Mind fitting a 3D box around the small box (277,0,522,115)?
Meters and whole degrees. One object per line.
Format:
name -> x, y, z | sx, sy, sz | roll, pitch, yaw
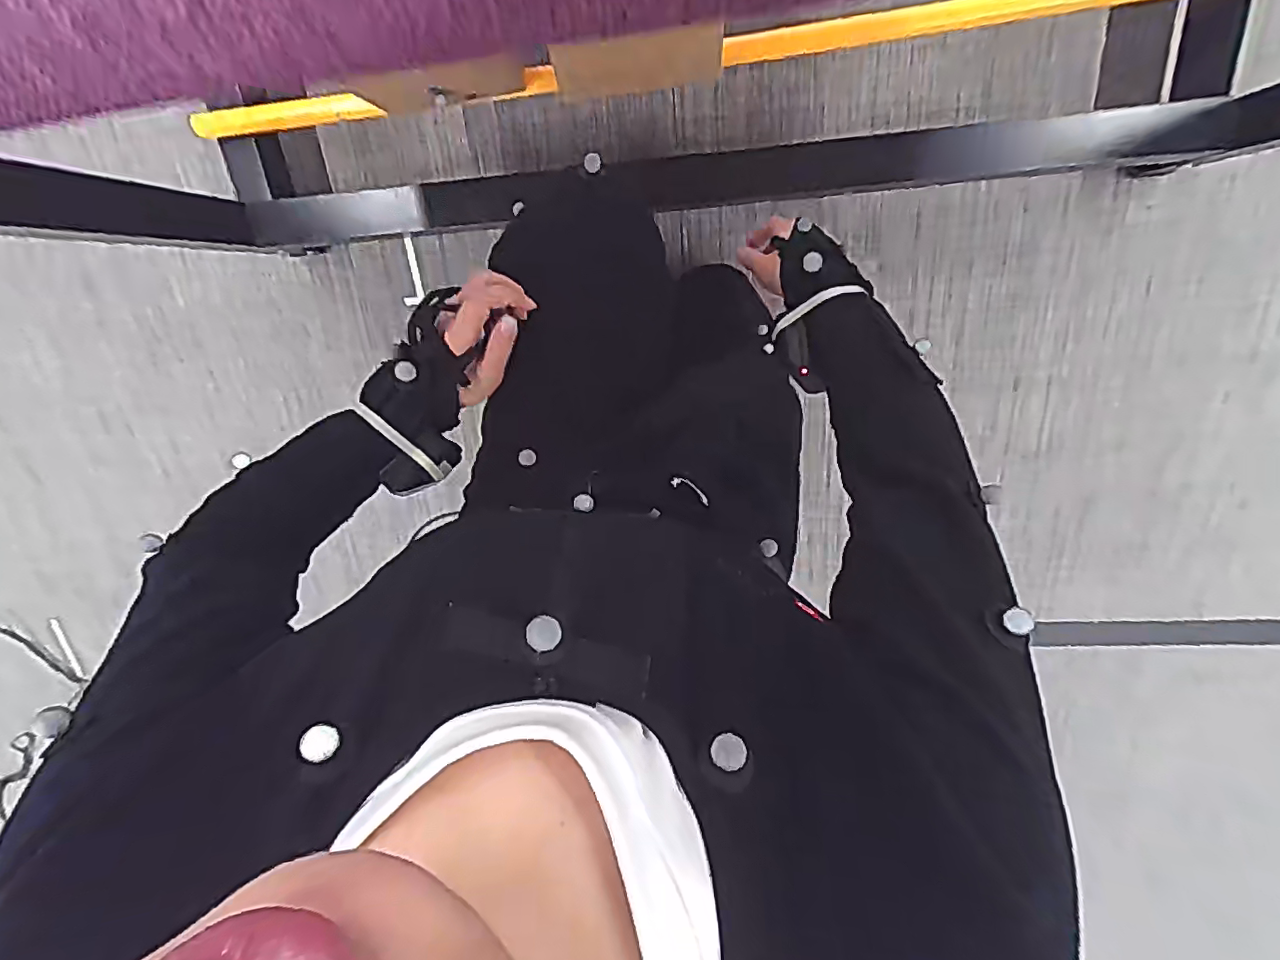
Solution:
small box -> -0.224, -0.476, 0.507 | 0.168, 0.176, 0.179 | -6, 111, 6
